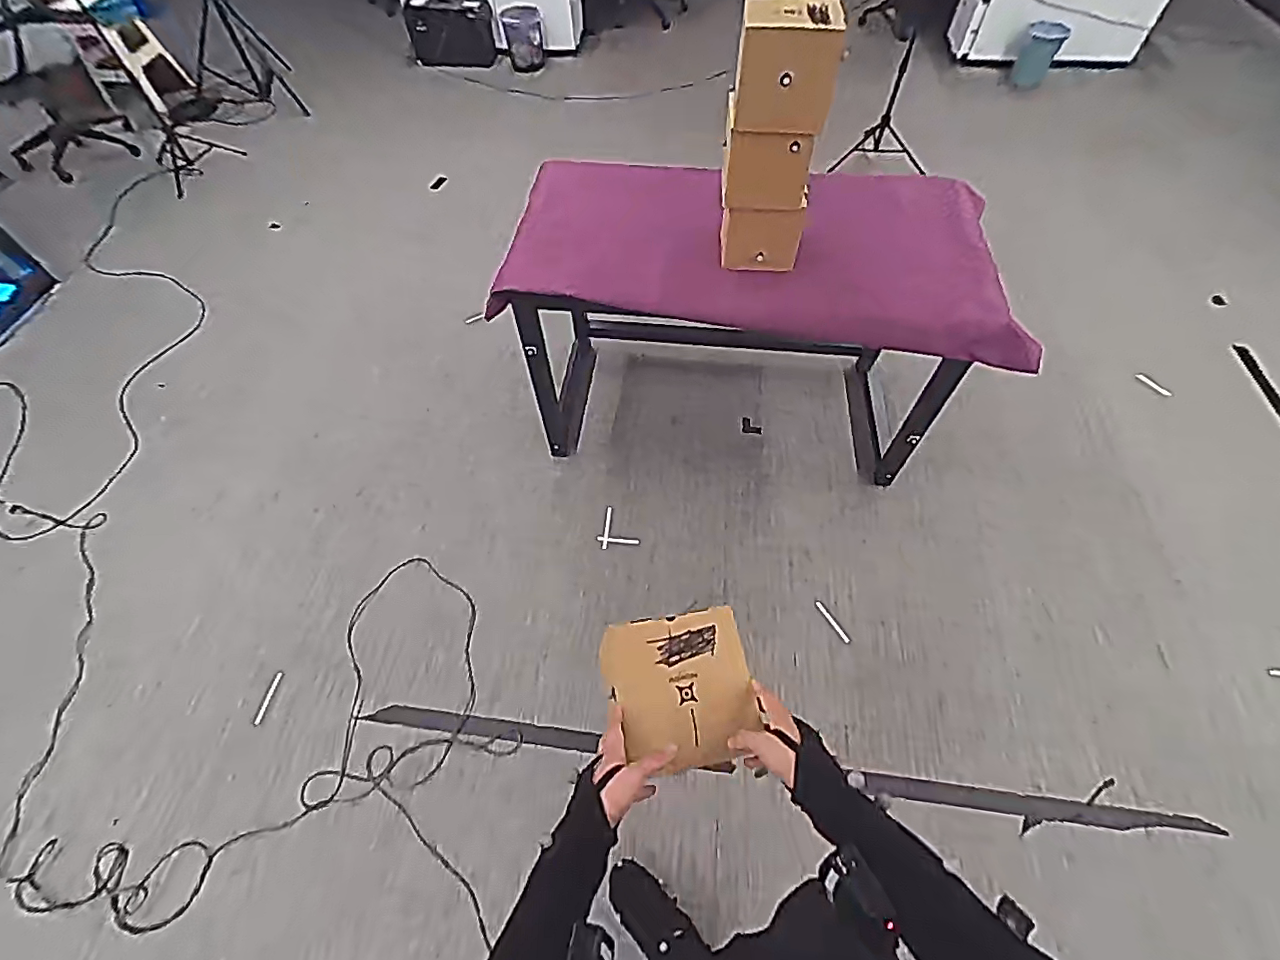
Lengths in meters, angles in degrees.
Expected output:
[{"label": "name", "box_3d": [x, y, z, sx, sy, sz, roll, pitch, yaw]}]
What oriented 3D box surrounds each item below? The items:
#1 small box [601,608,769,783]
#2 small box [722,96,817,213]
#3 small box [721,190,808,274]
[{"label": "small box", "box_3d": [0.044, 0.289, 0.715, 0.168, 0.176, 0.179, -7, 63, -11]}, {"label": "small box", "box_3d": [0.273, -0.707, 1.180, 0.179, 0.176, 0.168, 3, 57, 3]}, {"label": "small box", "box_3d": [0.296, -0.625, 1.320, 0.179, 0.176, 0.168, 3, 56, 3]}]
